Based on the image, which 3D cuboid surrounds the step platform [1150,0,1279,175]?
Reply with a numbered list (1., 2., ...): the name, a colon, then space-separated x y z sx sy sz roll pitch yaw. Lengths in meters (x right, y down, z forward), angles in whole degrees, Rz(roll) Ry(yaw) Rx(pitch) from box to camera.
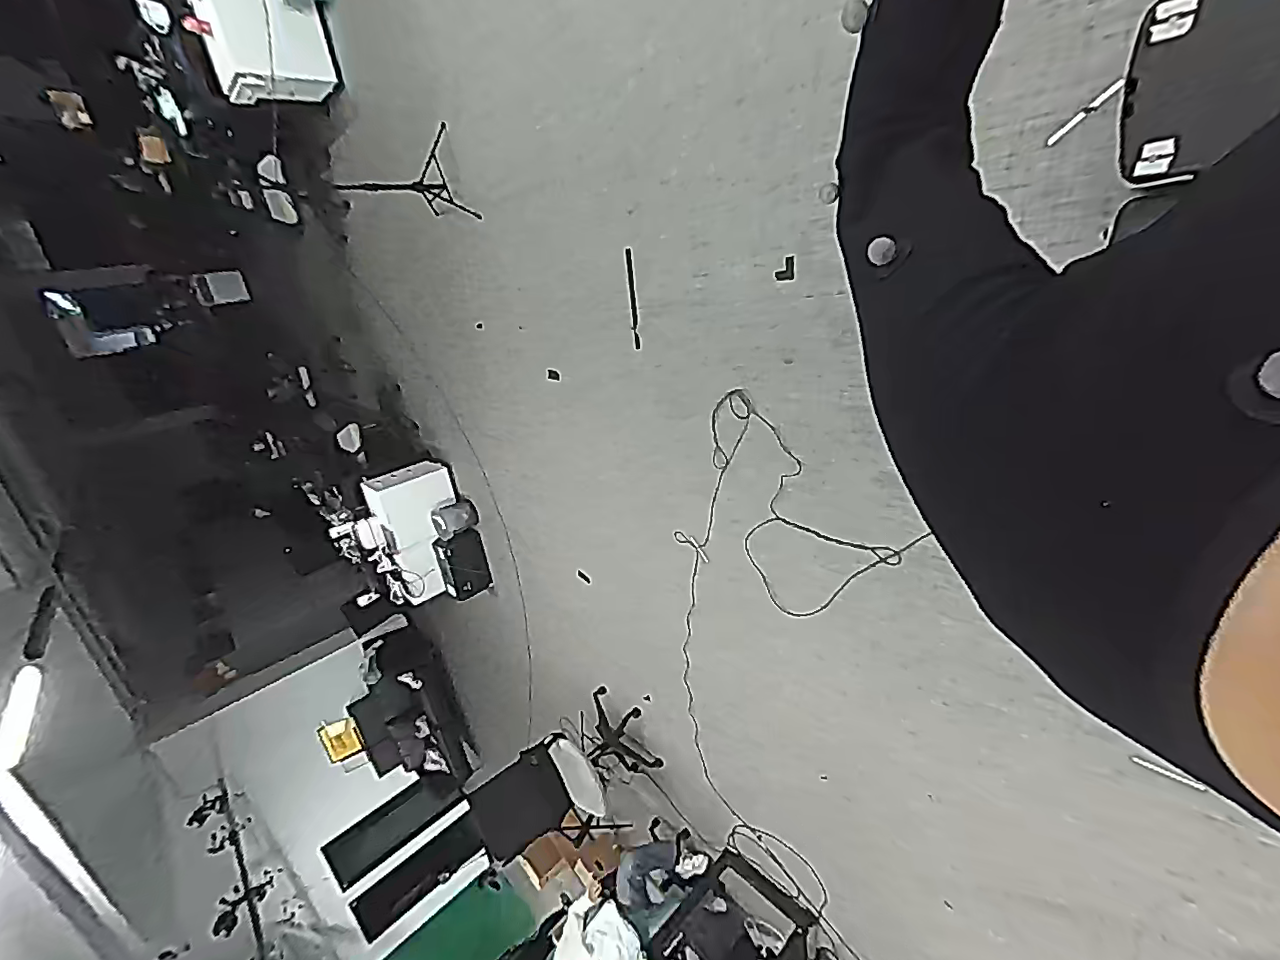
1. step platform: 1.161 -0.650 0.733 0.684 0.204 0.286 12 119 45
